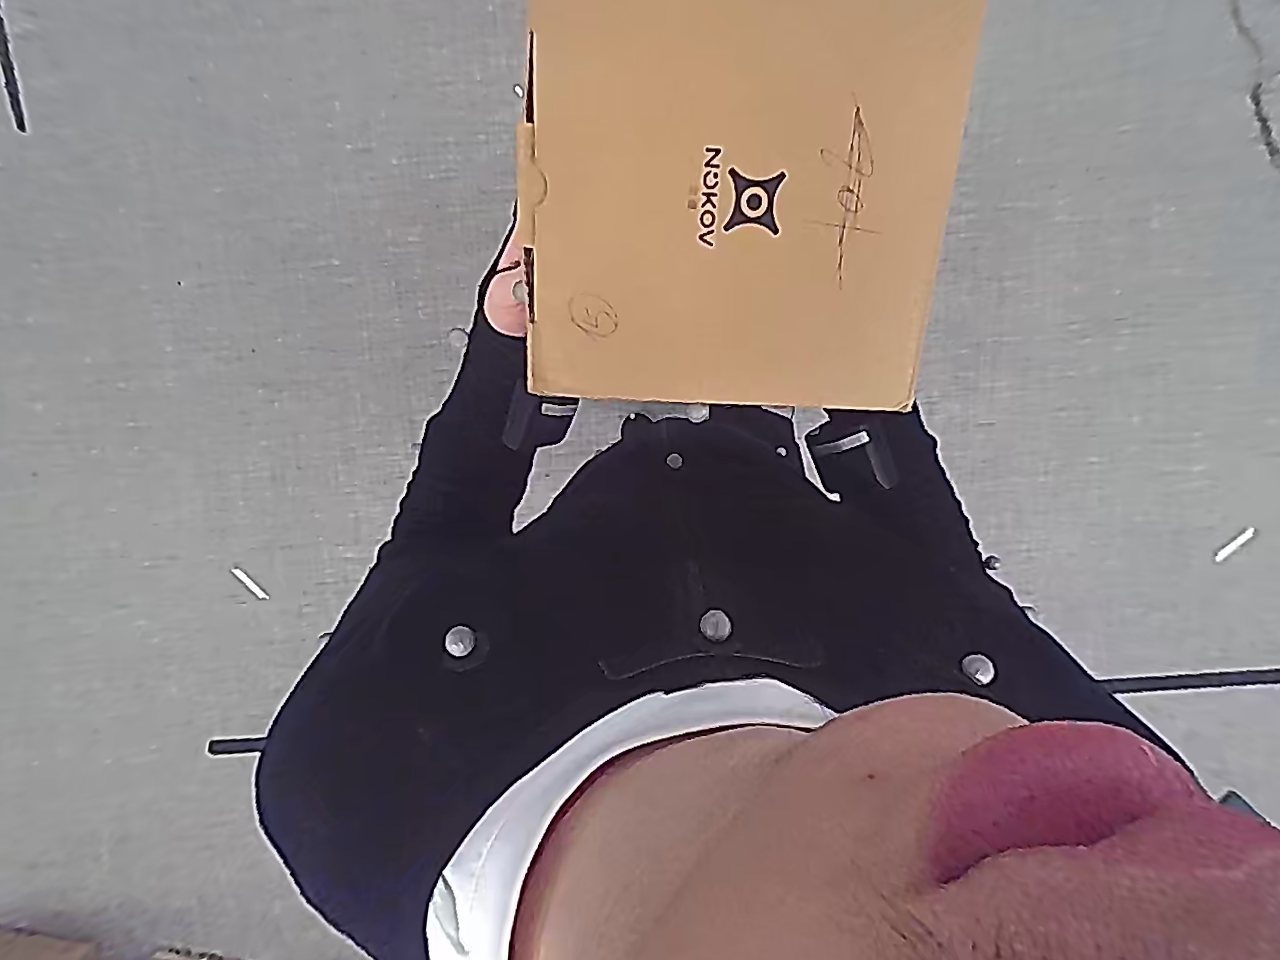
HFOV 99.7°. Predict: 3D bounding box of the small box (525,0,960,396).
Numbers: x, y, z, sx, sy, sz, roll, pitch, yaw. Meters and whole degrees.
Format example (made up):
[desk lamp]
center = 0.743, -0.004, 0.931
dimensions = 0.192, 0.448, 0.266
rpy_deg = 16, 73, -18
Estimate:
[small box]
center = 0.033, -0.143, 0.308
dimensions = 0.179, 0.176, 0.168
rpy_deg = 1, 107, -6
